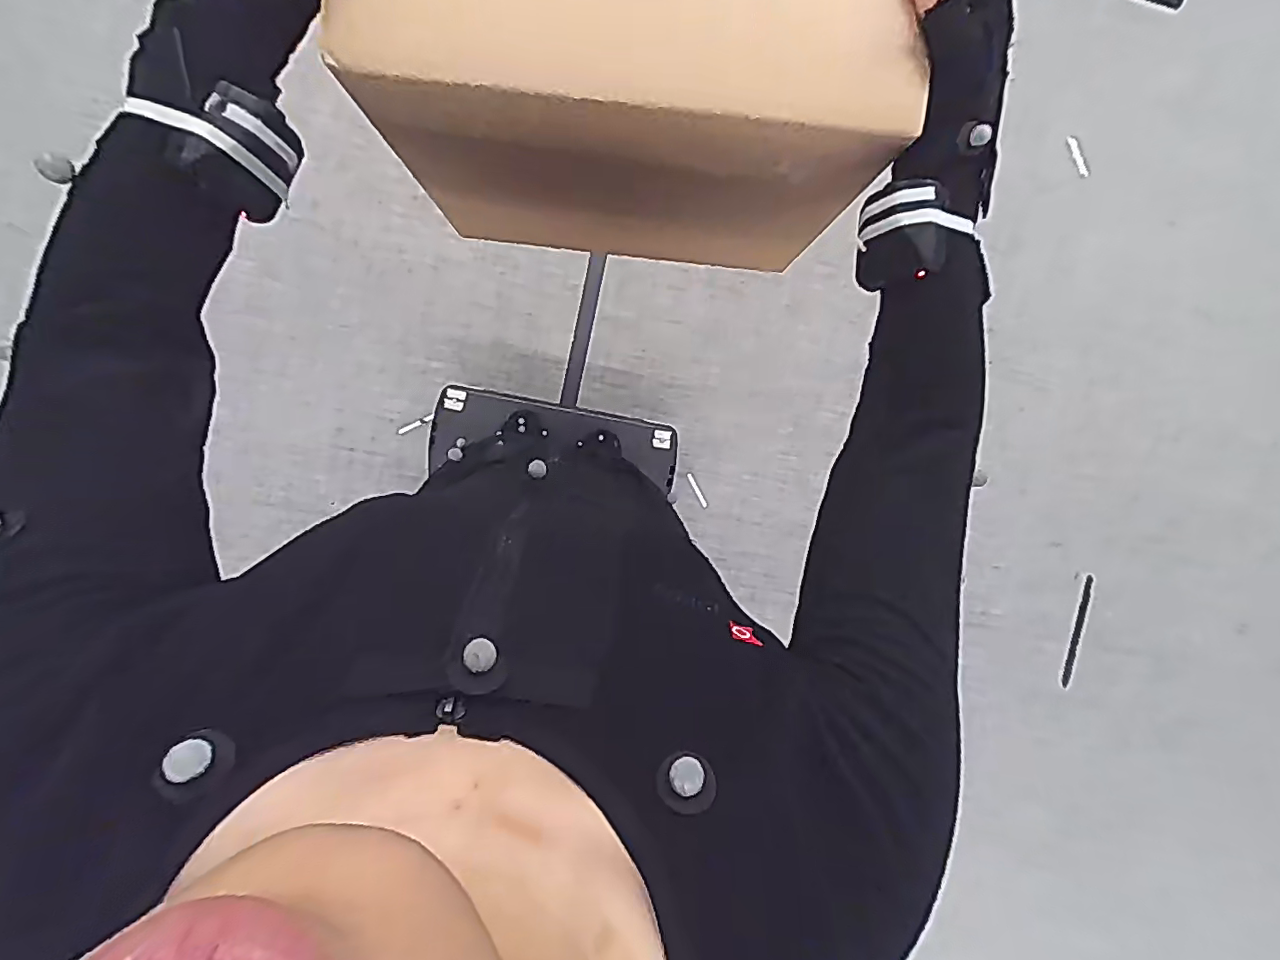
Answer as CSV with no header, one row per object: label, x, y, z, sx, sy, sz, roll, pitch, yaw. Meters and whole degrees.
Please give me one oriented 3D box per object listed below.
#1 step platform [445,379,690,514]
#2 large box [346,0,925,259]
step platform,-0.200,-0.093,1.562,0.684,0.204,0.286,10,95,-6
large box,0.000,-0.429,0.512,0.408,0.320,0.320,5,95,-4
